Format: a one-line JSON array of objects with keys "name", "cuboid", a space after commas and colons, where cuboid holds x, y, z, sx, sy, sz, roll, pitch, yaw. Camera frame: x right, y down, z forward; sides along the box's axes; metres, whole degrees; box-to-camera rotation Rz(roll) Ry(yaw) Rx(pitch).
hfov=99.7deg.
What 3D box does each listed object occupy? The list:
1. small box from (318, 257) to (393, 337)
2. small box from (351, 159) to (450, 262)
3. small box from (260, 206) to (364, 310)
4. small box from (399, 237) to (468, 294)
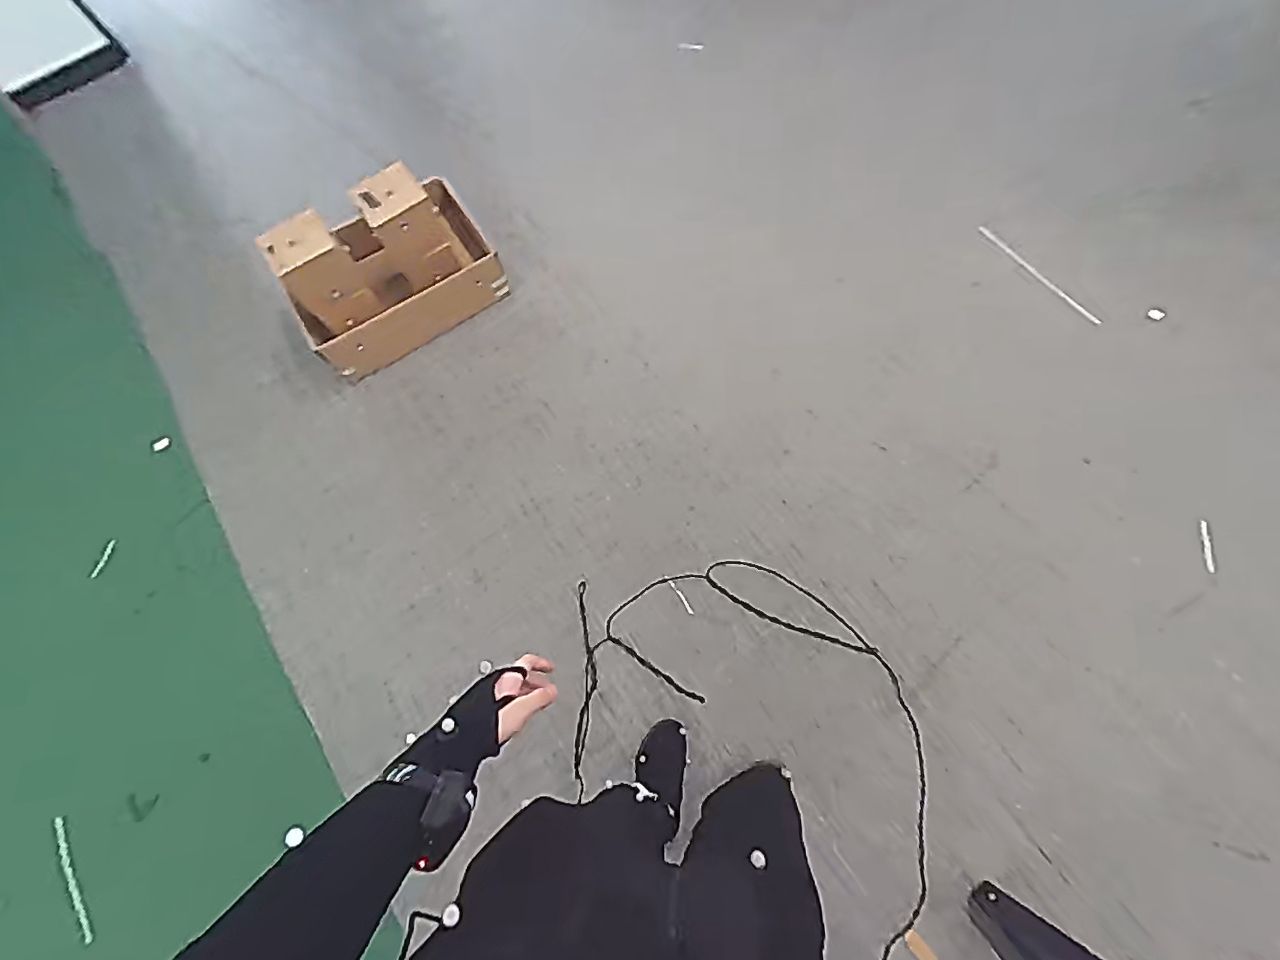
[{"name": "small box", "cuboid": [-0.912, -0.574, 1.692, 0.168, 0.176, 0.179, -33, 73, -8]}, {"name": "small box", "cuboid": [-0.687, -0.774, 1.569, 0.179, 0.176, 0.168, -35, 74, -8]}, {"name": "small box", "cuboid": [-0.918, -0.625, 1.535, 0.179, 0.176, 0.168, -33, 72, -8]}, {"name": "small box", "cuboid": [-0.676, -0.724, 1.726, 0.168, 0.176, 0.179, -31, 72, -6]}]
